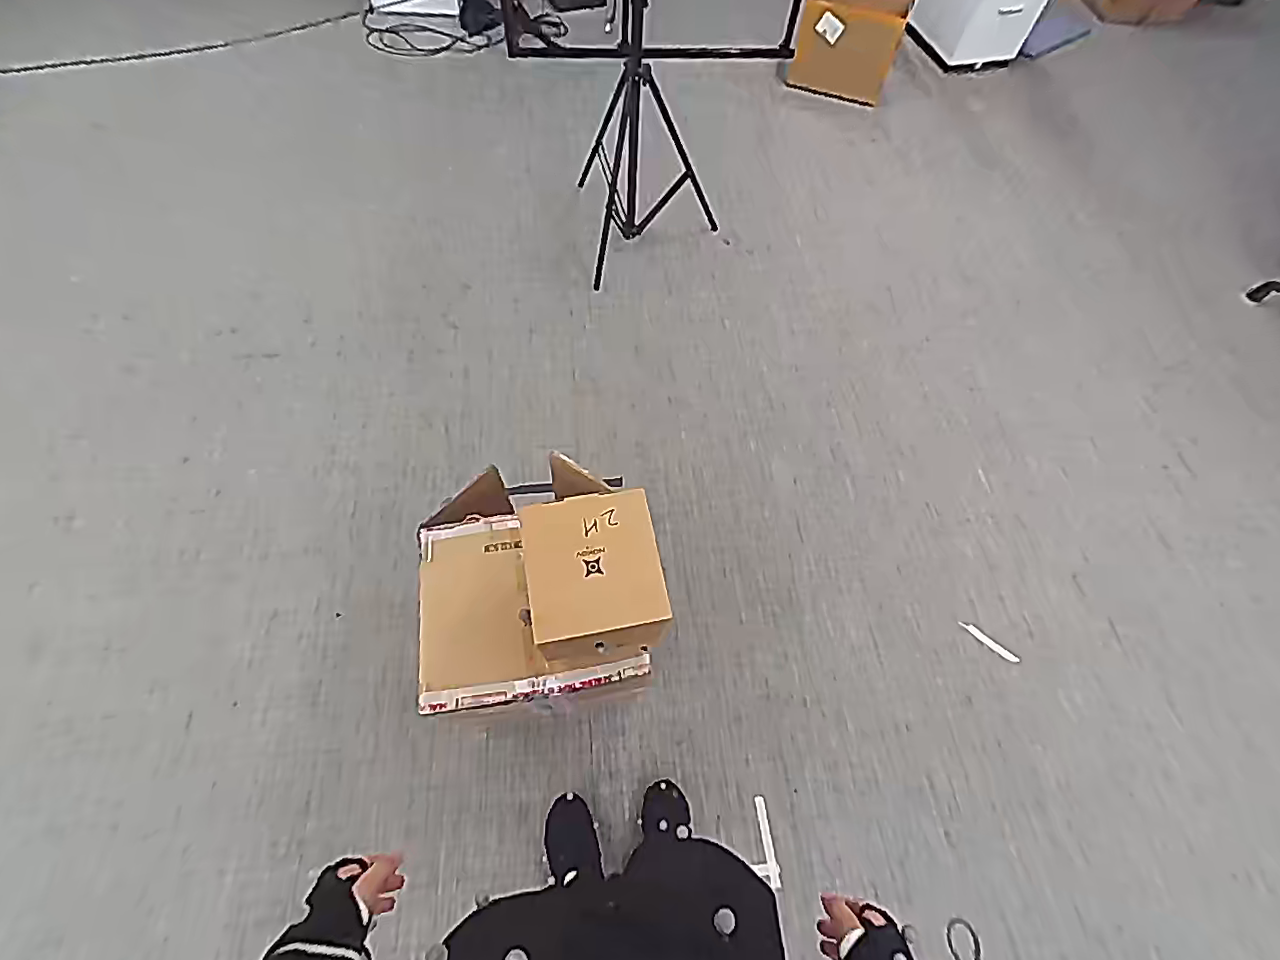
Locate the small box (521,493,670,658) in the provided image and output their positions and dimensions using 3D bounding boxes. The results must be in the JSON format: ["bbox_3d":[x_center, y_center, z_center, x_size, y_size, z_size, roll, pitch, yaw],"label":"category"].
[{"bbox_3d":[-0.063,0.138,0.740,0.168,0.176,0.179,-8,66,-9],"label":"small box"}]
